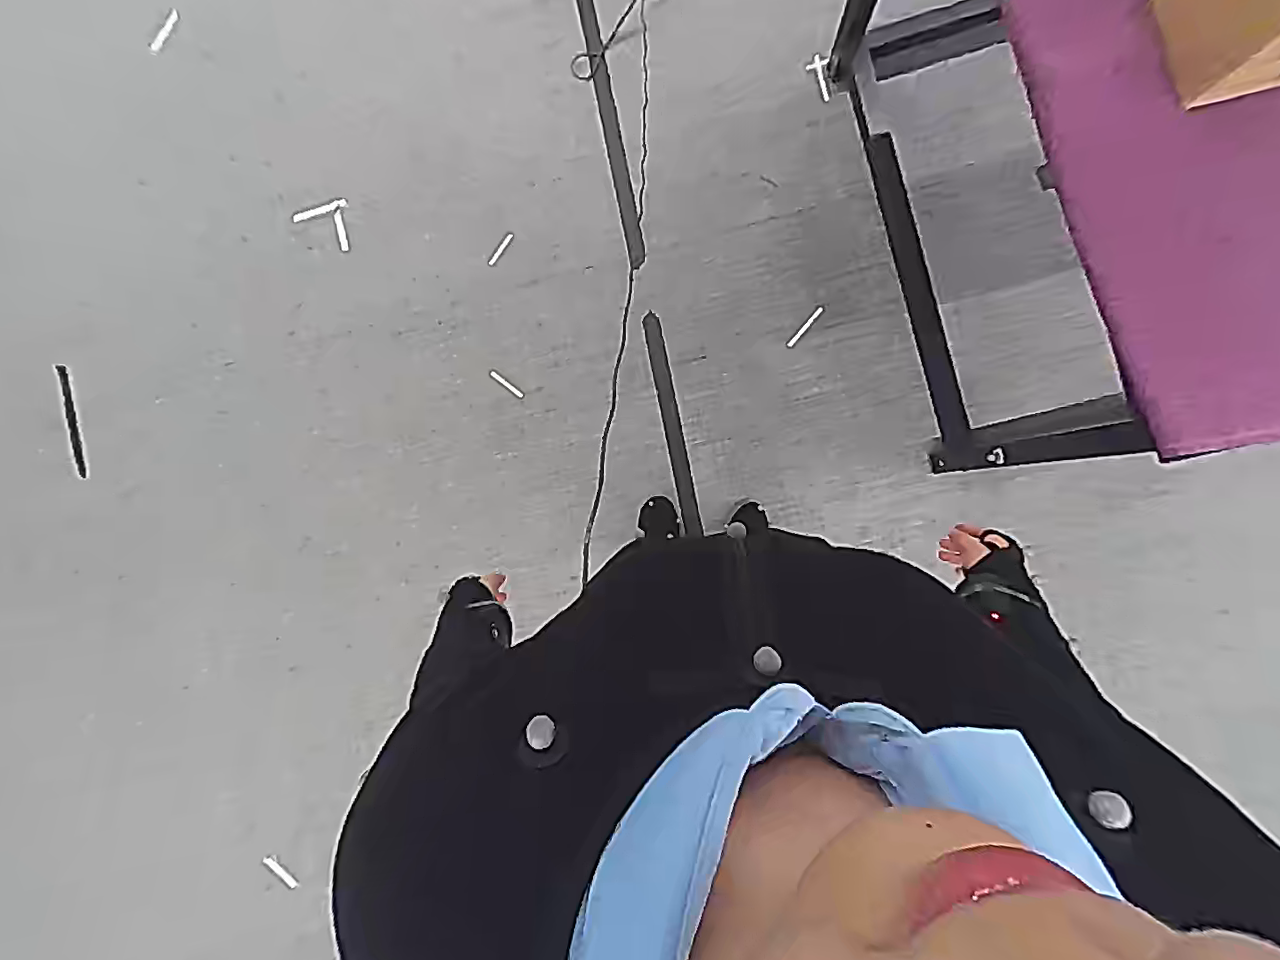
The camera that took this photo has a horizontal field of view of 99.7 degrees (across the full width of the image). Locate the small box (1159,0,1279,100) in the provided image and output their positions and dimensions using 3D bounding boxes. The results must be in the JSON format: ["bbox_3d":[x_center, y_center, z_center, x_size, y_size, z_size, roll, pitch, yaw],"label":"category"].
[{"bbox_3d":[0.801,-0.606,0.658,0.168,0.176,0.179,-12,87,5],"label":"small box"}]
